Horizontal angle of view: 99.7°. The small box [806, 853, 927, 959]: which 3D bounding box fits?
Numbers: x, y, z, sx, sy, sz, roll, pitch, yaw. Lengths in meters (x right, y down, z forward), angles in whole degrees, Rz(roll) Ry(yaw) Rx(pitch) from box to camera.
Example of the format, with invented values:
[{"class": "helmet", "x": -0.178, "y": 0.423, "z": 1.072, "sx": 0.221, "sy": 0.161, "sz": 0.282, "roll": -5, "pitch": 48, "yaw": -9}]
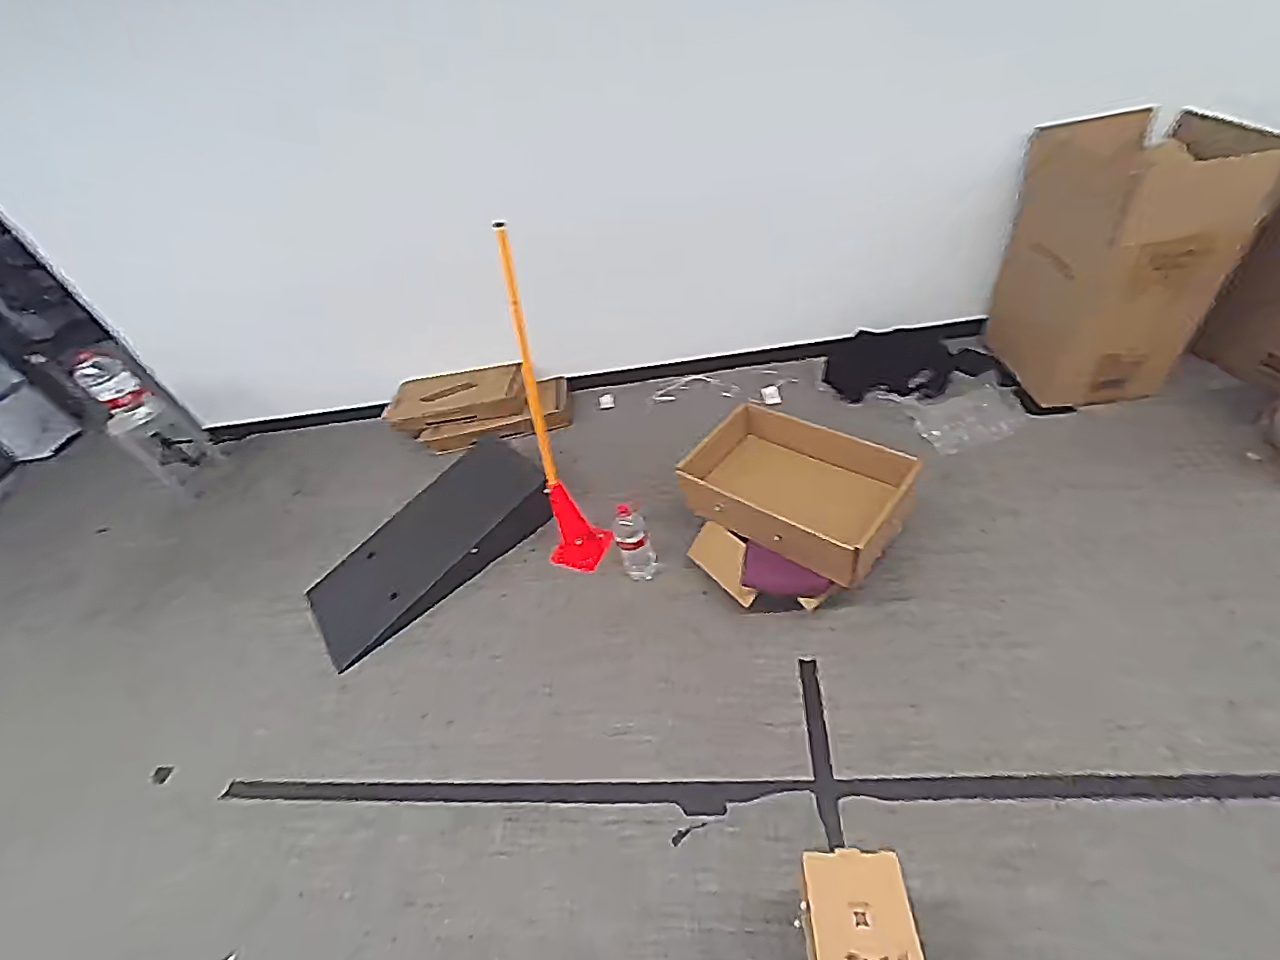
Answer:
[{"class": "small box", "x": 0.391, "y": 0.786, "z": 0.955, "sx": 0.168, "sy": 0.176, "sz": 0.179, "roll": -7, "pitch": 42, "yaw": 10}]
